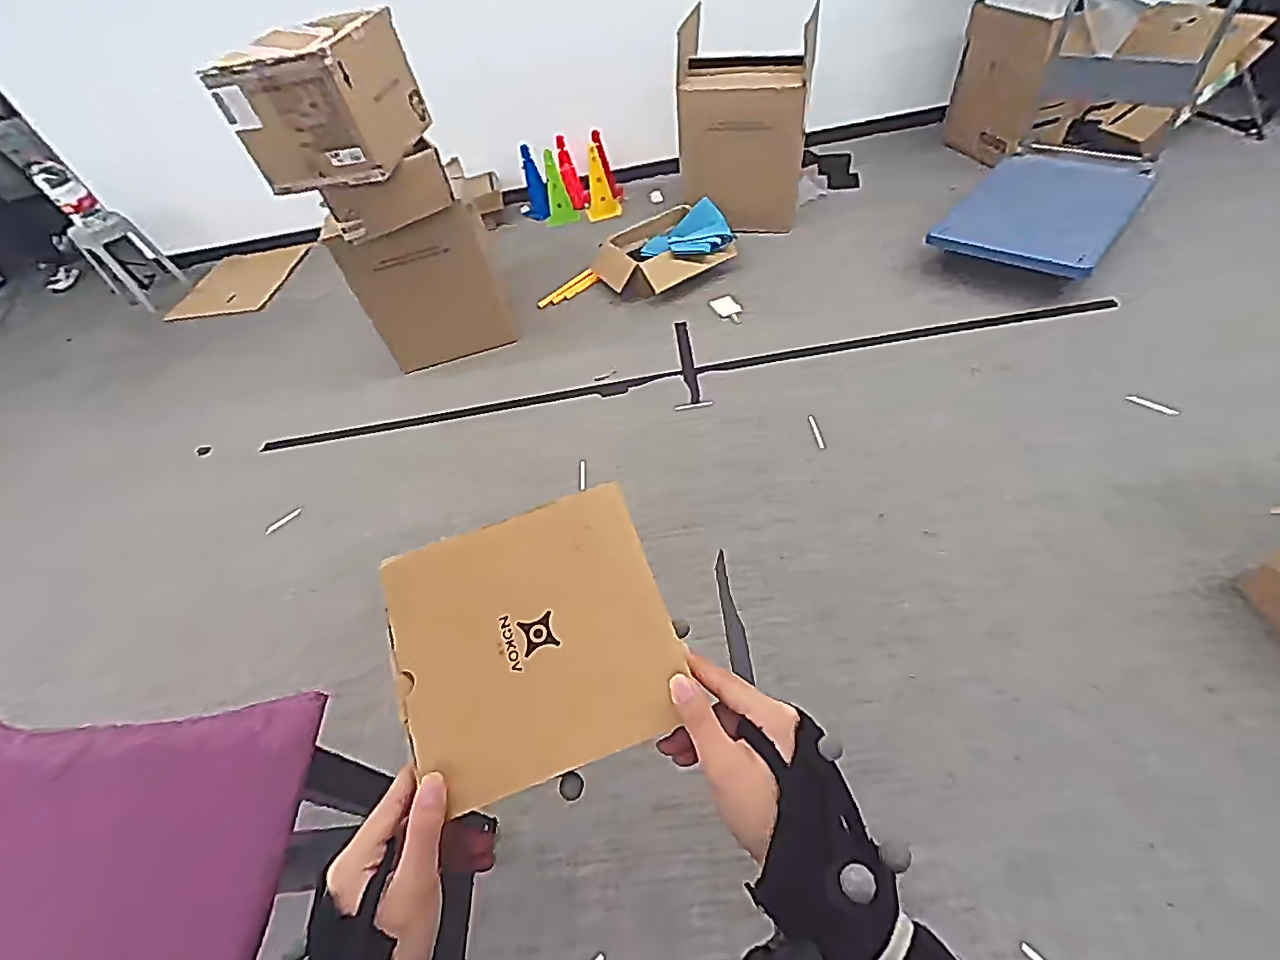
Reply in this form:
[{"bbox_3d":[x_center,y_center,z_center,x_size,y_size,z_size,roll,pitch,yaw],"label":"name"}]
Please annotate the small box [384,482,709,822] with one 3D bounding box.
[{"bbox_3d":[-0.062,0.127,0.419,0.179,0.176,0.168,-20,68,-5],"label":"small box"}]
